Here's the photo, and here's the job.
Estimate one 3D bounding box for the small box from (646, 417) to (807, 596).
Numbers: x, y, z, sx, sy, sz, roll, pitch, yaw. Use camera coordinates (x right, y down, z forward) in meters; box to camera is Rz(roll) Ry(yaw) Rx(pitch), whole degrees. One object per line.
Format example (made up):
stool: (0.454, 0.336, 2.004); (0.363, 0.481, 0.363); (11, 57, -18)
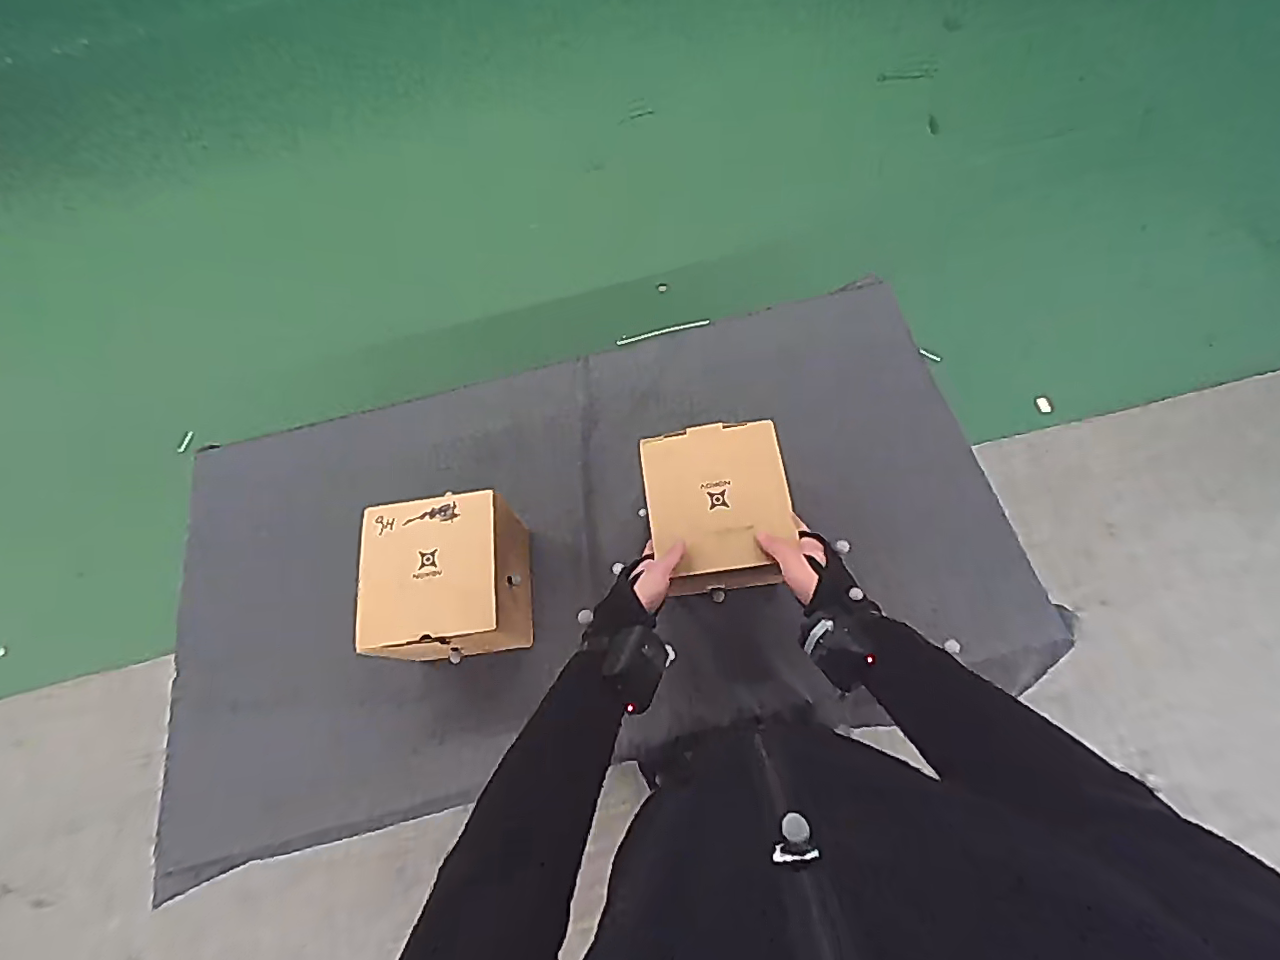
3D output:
small box: (0.103, 0.043, 0.687); (0.168, 0.176, 0.179); (-8, 70, 6)

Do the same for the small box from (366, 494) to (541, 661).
small box: (-0.238, 0.139, 0.721); (0.168, 0.176, 0.179); (-11, 67, 2)
